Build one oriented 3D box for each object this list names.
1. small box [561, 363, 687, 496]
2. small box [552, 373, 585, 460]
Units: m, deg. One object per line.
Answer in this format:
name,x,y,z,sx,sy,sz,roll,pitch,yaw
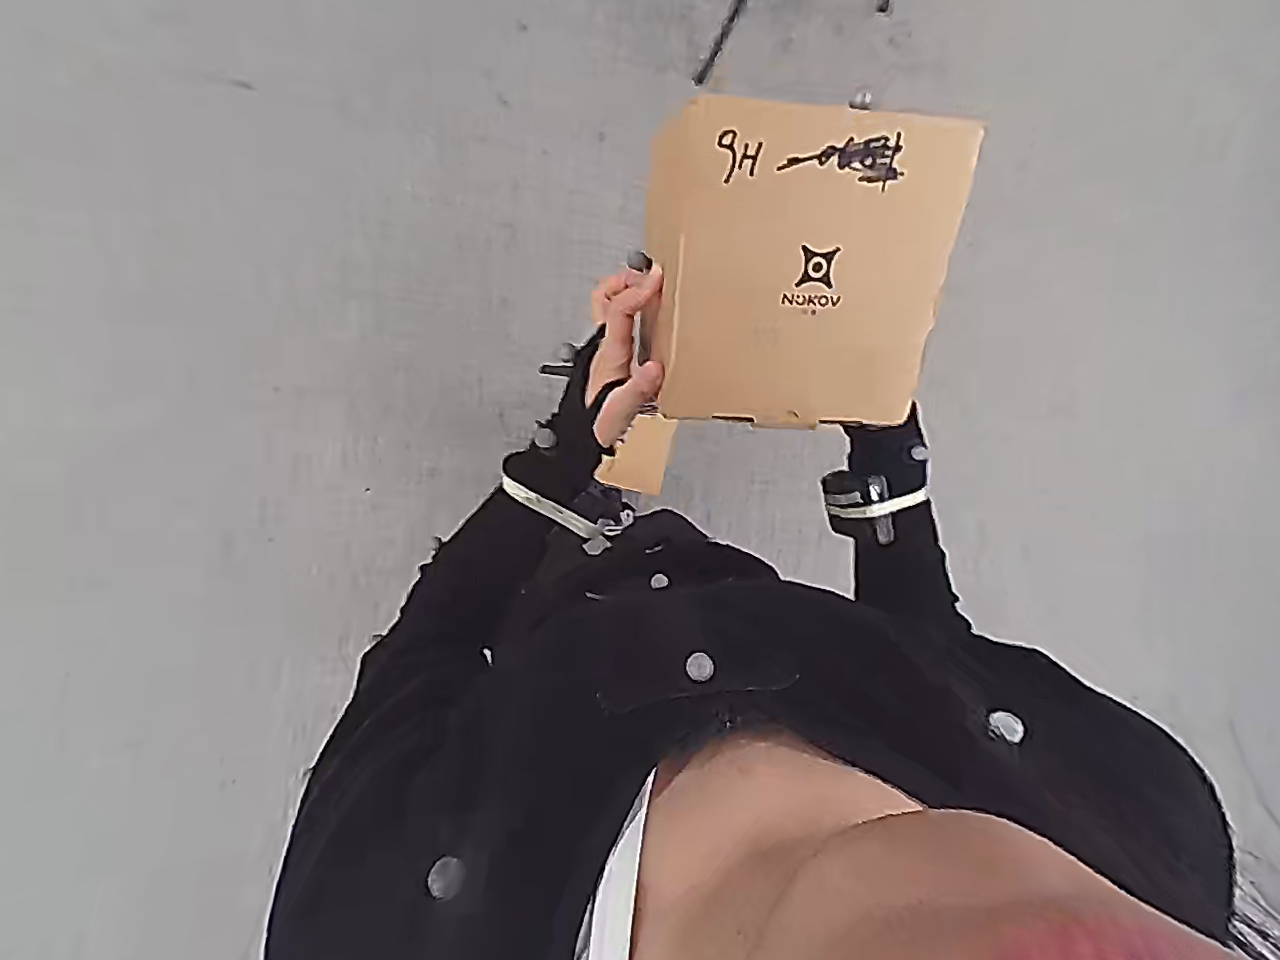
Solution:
small box,-0.035,-0.084,0.920,0.168,0.176,0.179,15,93,-8
small box,-0.069,-0.101,1.080,0.179,0.176,0.168,15,93,-9
